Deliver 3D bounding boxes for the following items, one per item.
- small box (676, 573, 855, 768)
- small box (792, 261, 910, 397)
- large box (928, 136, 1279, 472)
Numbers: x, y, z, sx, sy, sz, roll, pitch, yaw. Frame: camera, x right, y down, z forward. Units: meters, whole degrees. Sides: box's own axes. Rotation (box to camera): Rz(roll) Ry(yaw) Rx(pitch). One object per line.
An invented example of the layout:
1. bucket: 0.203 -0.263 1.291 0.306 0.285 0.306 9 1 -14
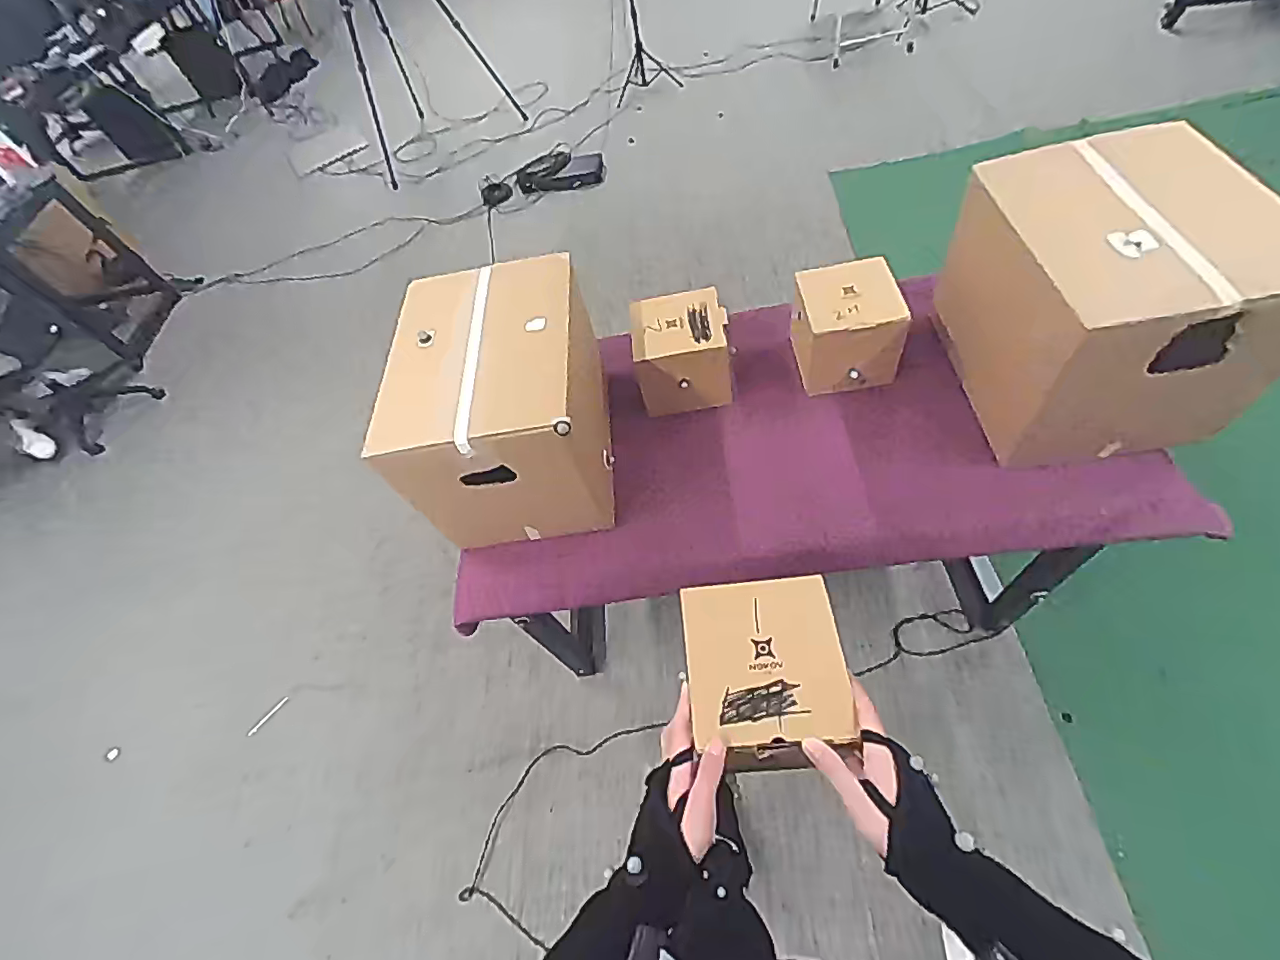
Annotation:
1. small box: 0.137 0.231 0.637 0.168 0.176 0.179 -7 53 5
2. small box: 0.392 -0.286 1.041 0.168 0.176 0.179 -8 57 8
3. large box: 0.725 -0.274 0.877 0.320 0.320 0.408 -8 56 9
